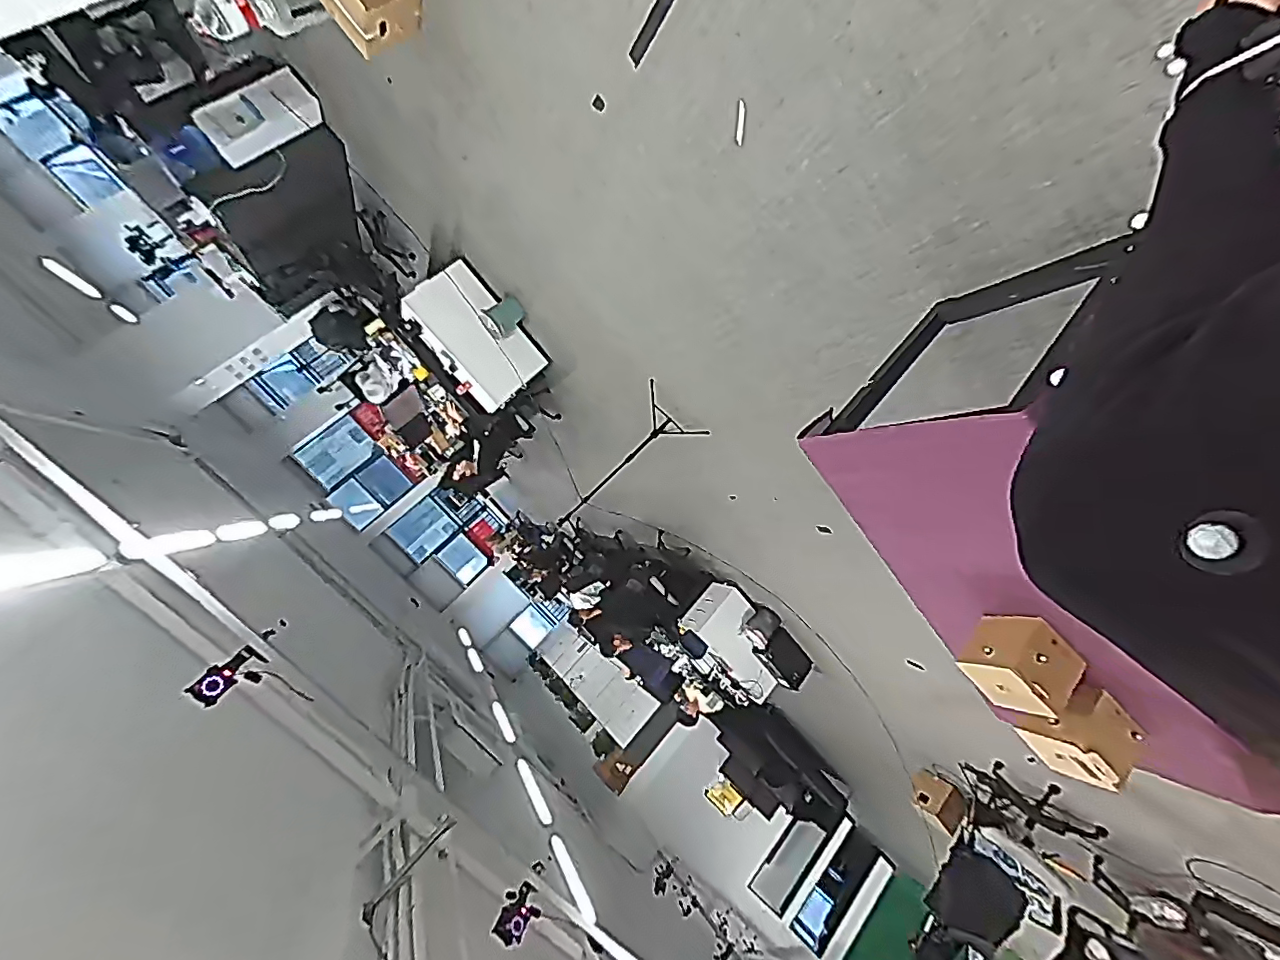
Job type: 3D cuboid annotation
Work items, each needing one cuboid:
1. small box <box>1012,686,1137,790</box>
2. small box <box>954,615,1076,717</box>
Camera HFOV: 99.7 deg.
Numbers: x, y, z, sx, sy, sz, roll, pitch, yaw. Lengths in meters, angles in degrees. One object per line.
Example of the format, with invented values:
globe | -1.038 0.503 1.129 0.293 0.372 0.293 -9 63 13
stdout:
small box | 1.118 0.643 1.387 0.168 0.176 0.179 47 162 -3
small box | 0.949 0.459 1.362 0.168 0.176 0.179 46 162 -2
